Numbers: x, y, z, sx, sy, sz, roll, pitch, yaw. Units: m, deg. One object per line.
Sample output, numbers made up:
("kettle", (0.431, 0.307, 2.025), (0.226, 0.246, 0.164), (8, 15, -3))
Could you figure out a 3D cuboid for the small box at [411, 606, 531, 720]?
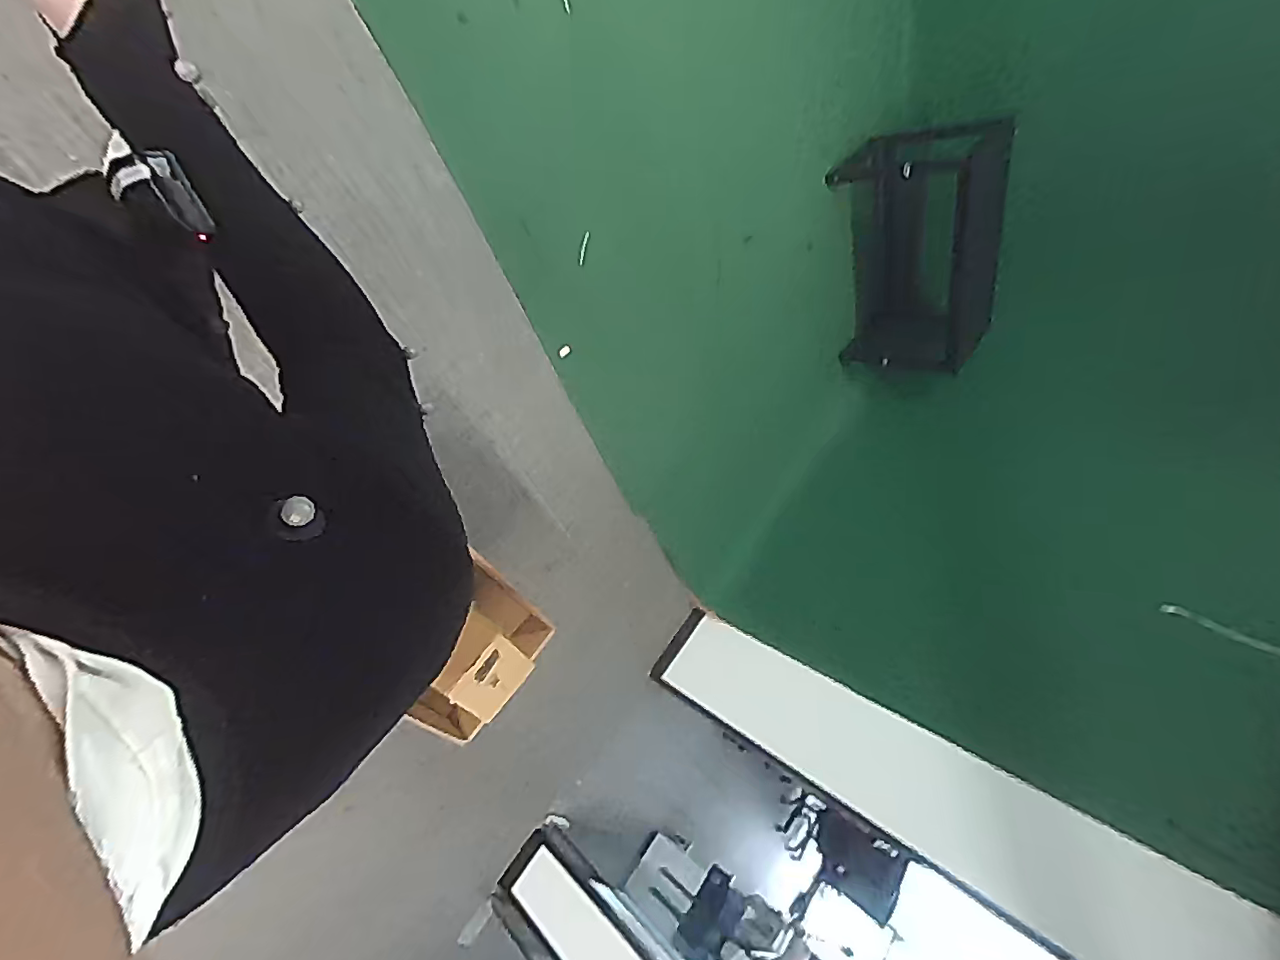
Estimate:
("small box", (-0.397, 0.420, 1.268), (0.168, 0.176, 0.179), (-49, 138, -22))
